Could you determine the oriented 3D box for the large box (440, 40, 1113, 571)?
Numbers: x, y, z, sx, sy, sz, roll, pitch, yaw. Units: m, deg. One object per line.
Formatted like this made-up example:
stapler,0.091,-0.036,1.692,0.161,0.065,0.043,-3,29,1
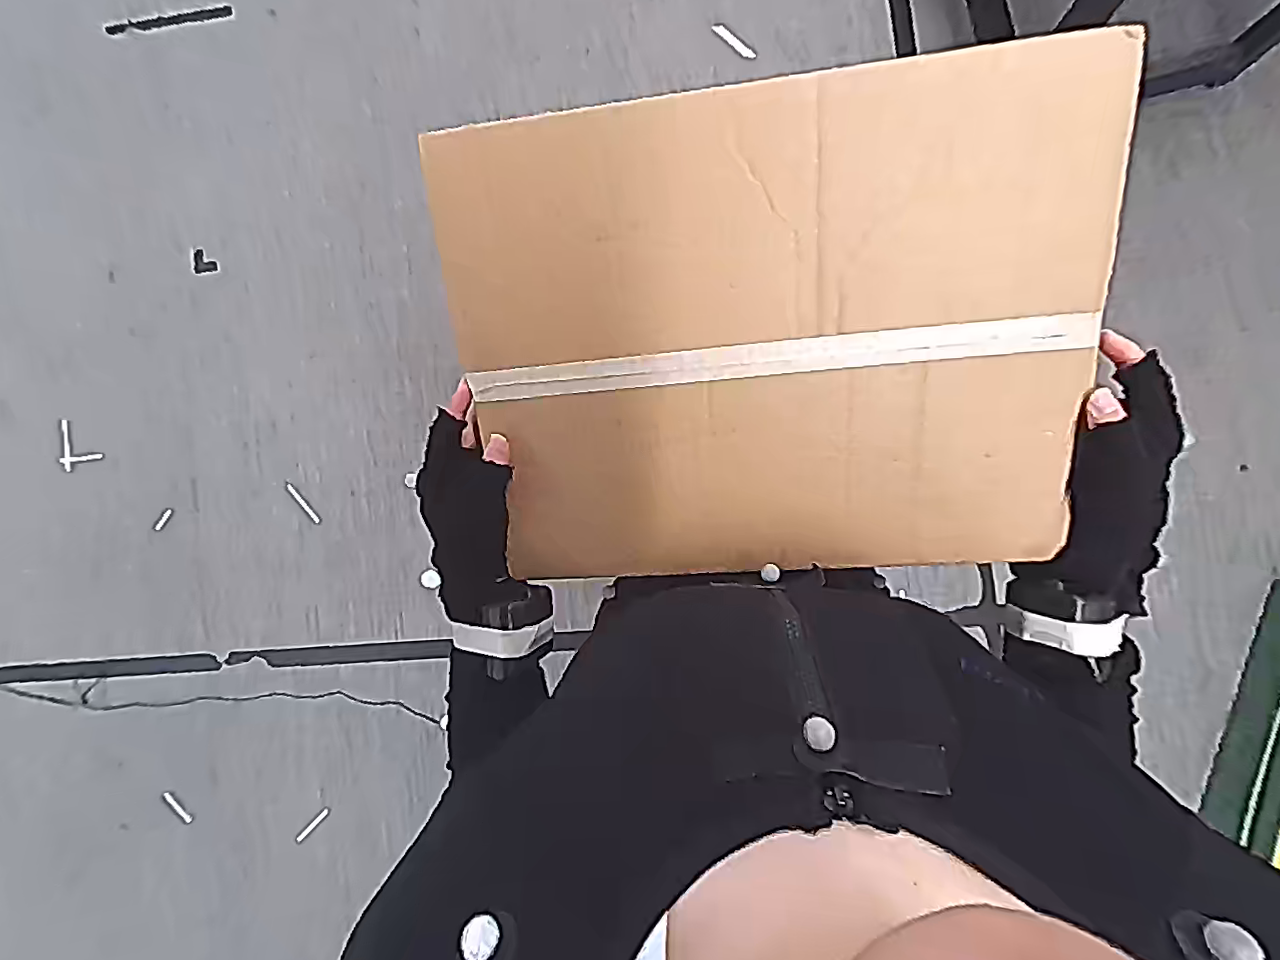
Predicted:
large box,0.094,-0.130,0.507,0.408,0.320,0.320,-3,109,7
